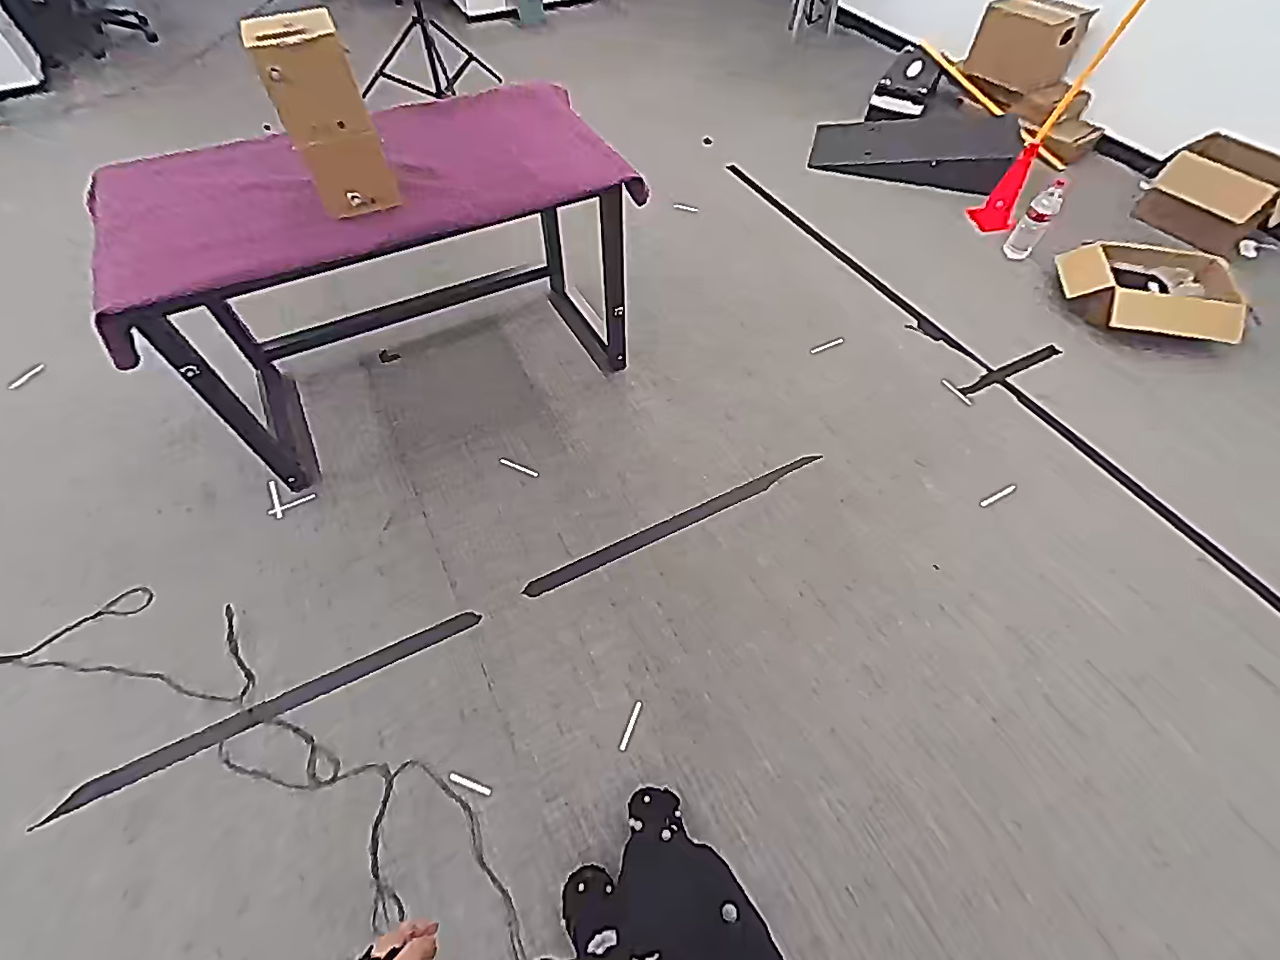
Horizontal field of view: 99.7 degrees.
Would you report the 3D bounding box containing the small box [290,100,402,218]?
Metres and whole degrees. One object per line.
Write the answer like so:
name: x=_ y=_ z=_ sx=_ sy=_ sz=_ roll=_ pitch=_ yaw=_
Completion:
small box: x=-0.677 y=-0.742 z=1.253 sx=0.168 sy=0.176 sz=0.179 roll=-22 pitch=60 yaw=-14
